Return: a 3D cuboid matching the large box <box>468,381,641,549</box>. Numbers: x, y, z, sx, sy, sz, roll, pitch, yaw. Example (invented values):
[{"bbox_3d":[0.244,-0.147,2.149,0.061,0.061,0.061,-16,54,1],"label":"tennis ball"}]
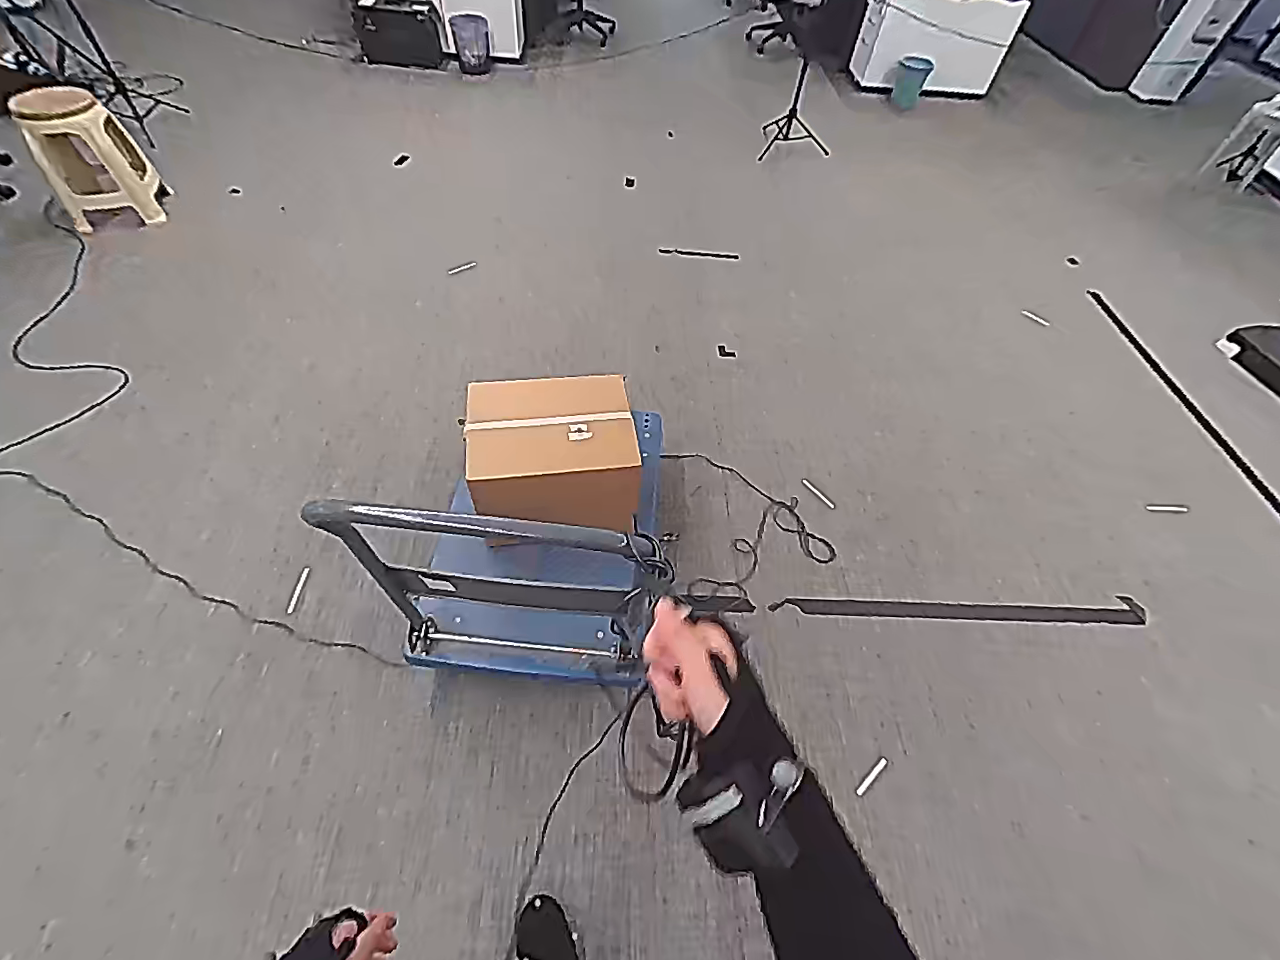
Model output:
[{"bbox_3d":[-0.230,-0.038,1.442,0.408,0.320,0.320,-5,55,-10],"label":"large box"}]
